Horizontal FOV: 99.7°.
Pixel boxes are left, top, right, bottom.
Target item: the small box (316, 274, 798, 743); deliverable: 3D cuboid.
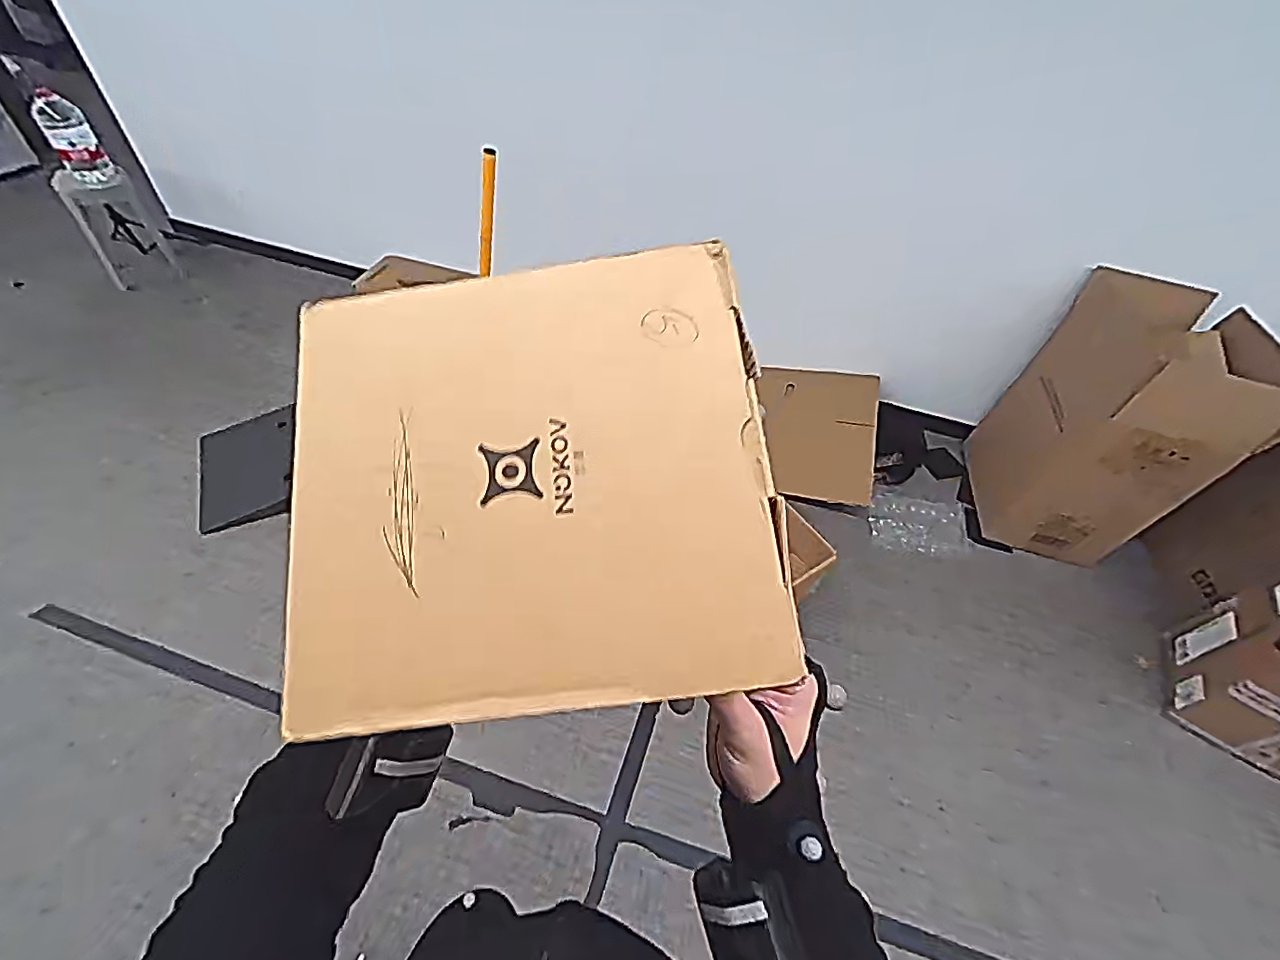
[{"bbox_3d":[-0.033,0.024,0.286,0.179,0.176,0.168,-9,75,4],"label":"small box"}]
